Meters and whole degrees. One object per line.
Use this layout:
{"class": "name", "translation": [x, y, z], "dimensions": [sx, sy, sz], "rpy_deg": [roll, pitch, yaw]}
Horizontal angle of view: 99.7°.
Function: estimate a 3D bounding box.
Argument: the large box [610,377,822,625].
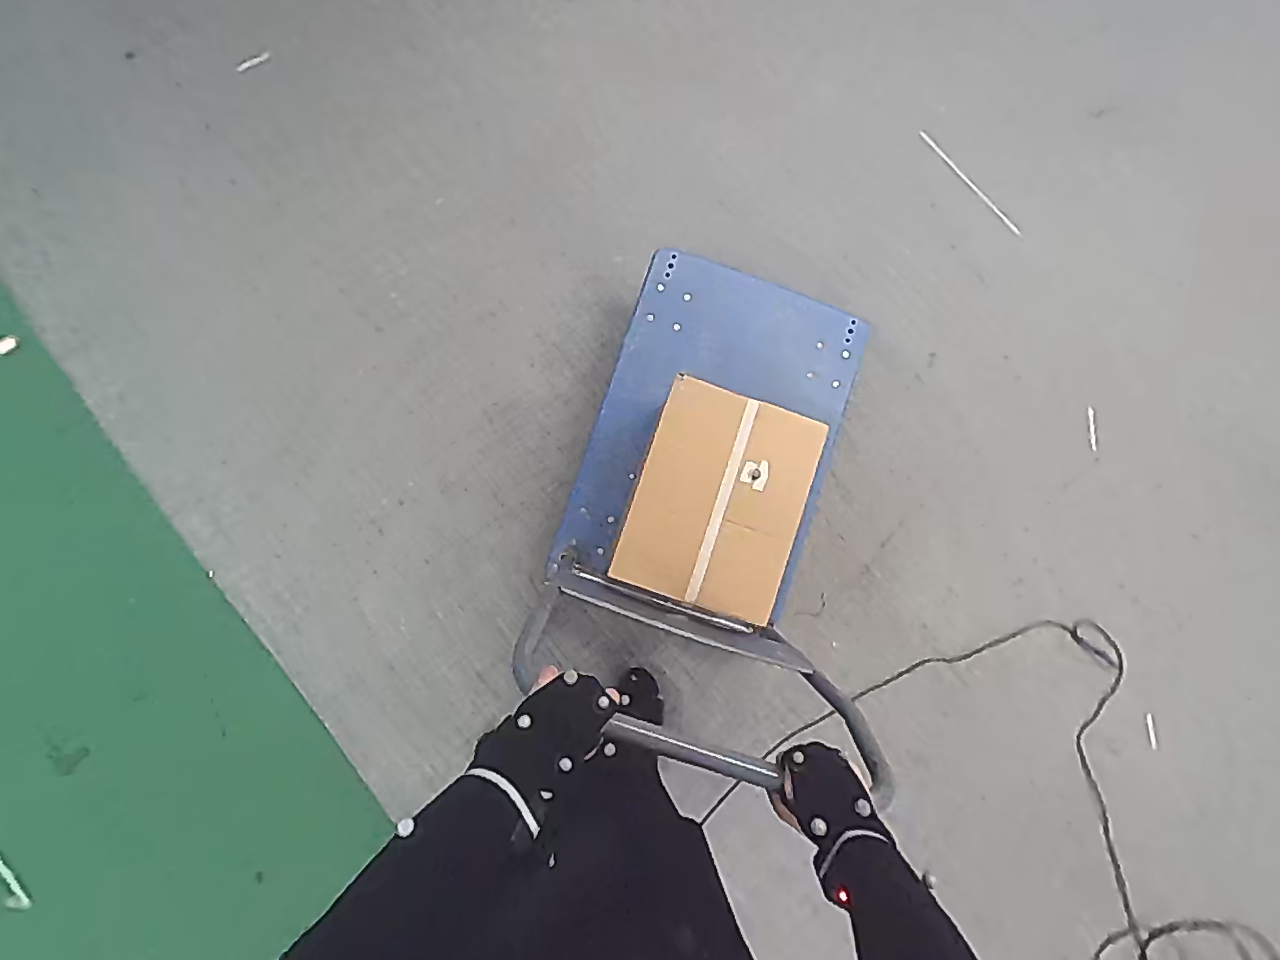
{"class": "large box", "translation": [0.138, 0.050, 1.161], "dimensions": [0.320, 0.320, 0.408], "rpy_deg": [19, 85, -2]}
